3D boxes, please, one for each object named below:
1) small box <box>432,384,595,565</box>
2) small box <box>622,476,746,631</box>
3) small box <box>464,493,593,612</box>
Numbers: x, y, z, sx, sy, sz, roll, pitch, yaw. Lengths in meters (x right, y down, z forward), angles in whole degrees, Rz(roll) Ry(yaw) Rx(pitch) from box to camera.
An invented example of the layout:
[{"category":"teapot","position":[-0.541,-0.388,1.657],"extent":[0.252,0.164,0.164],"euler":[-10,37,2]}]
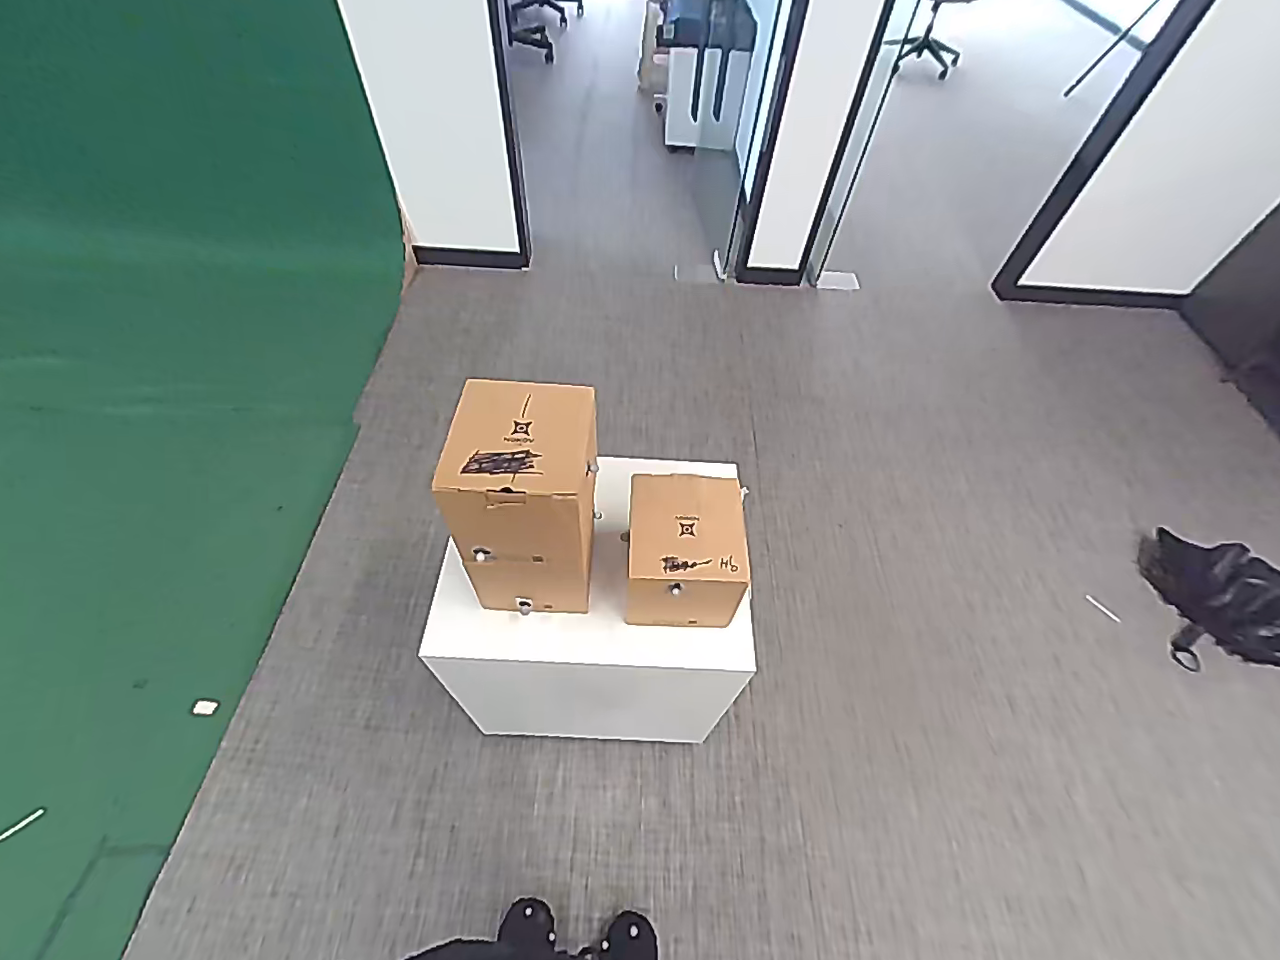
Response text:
[{"category":"small box","position":[-0.150,-0.003,0.714],"extent":[0.168,0.176,0.179],"euler":[4,52,0]},{"category":"small box","position":[0.060,0.116,0.841],"extent":[0.168,0.176,0.179],"euler":[3,52,-2]},{"category":"small box","position":[-0.158,0.087,0.832],"extent":[0.168,0.176,0.179],"euler":[1,55,-2]}]
